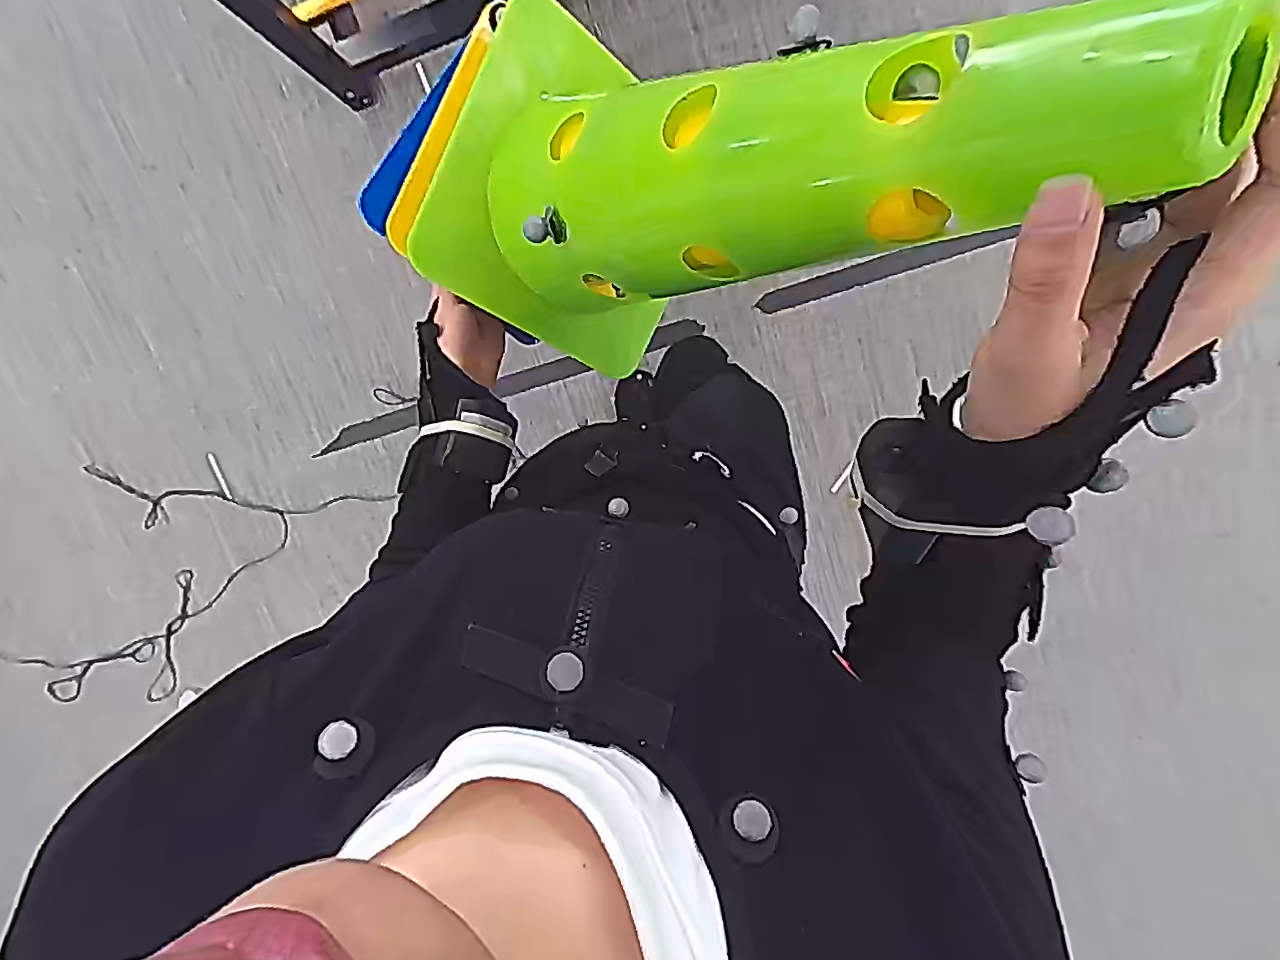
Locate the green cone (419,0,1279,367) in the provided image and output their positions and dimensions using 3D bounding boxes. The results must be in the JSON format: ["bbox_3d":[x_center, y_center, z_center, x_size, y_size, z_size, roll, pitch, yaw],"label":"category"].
[{"bbox_3d":[0.052,-0.150,0.256,0.200,0.368,0.202,22,97,-36],"label":"green cone"}]
